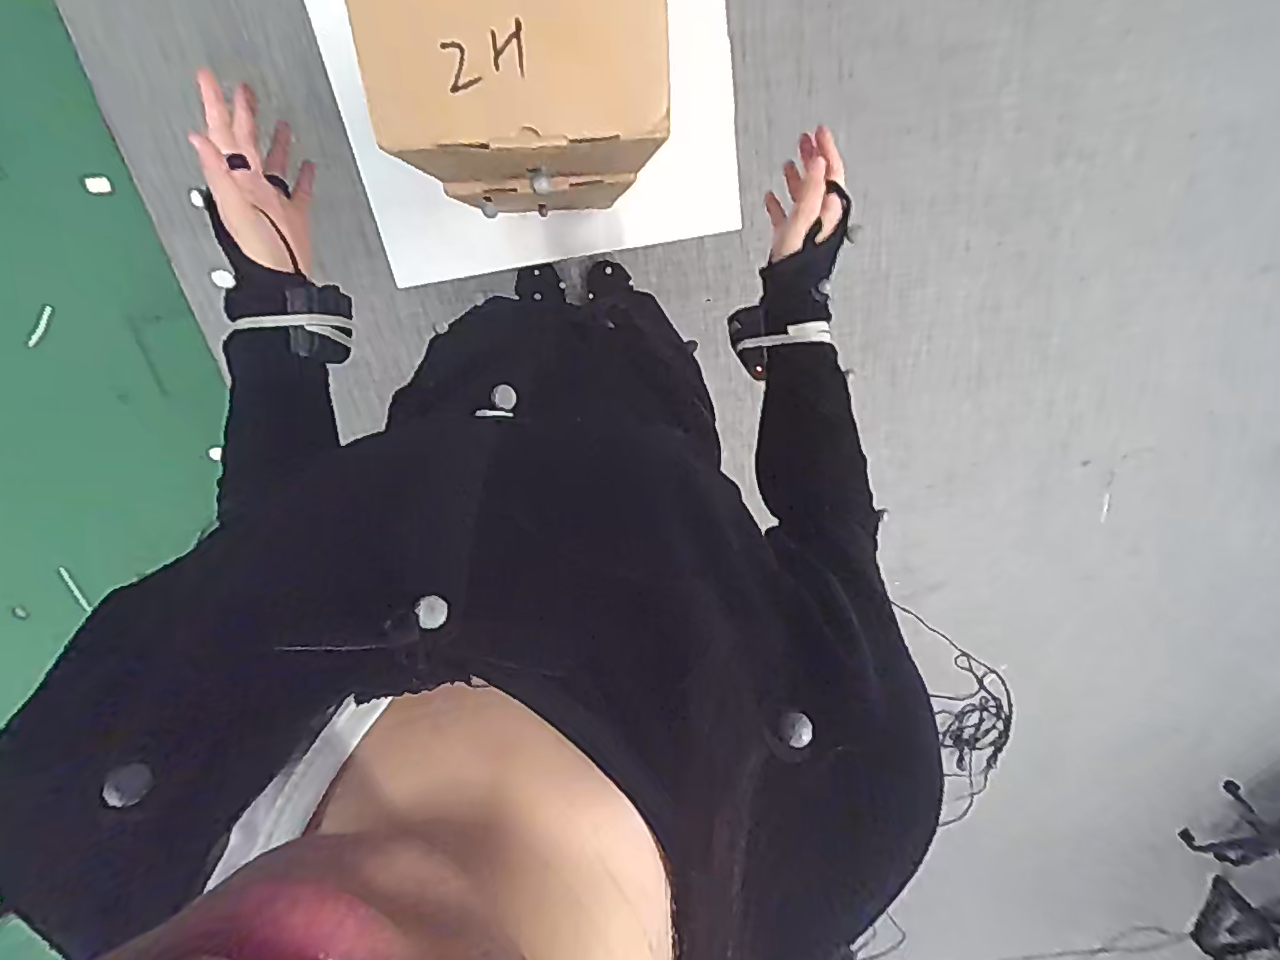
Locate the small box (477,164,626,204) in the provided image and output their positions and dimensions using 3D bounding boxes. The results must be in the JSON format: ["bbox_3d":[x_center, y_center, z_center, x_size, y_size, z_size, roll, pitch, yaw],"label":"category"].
[{"bbox_3d":[-0.109,-0.433,0.637,0.168,0.176,0.179,-5,114,-5],"label":"small box"}]

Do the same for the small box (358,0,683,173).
[{"bbox_3d":[-0.071,-0.305,0.336,0.168,0.176,0.179,-6,114,-4],"label":"small box"}]
